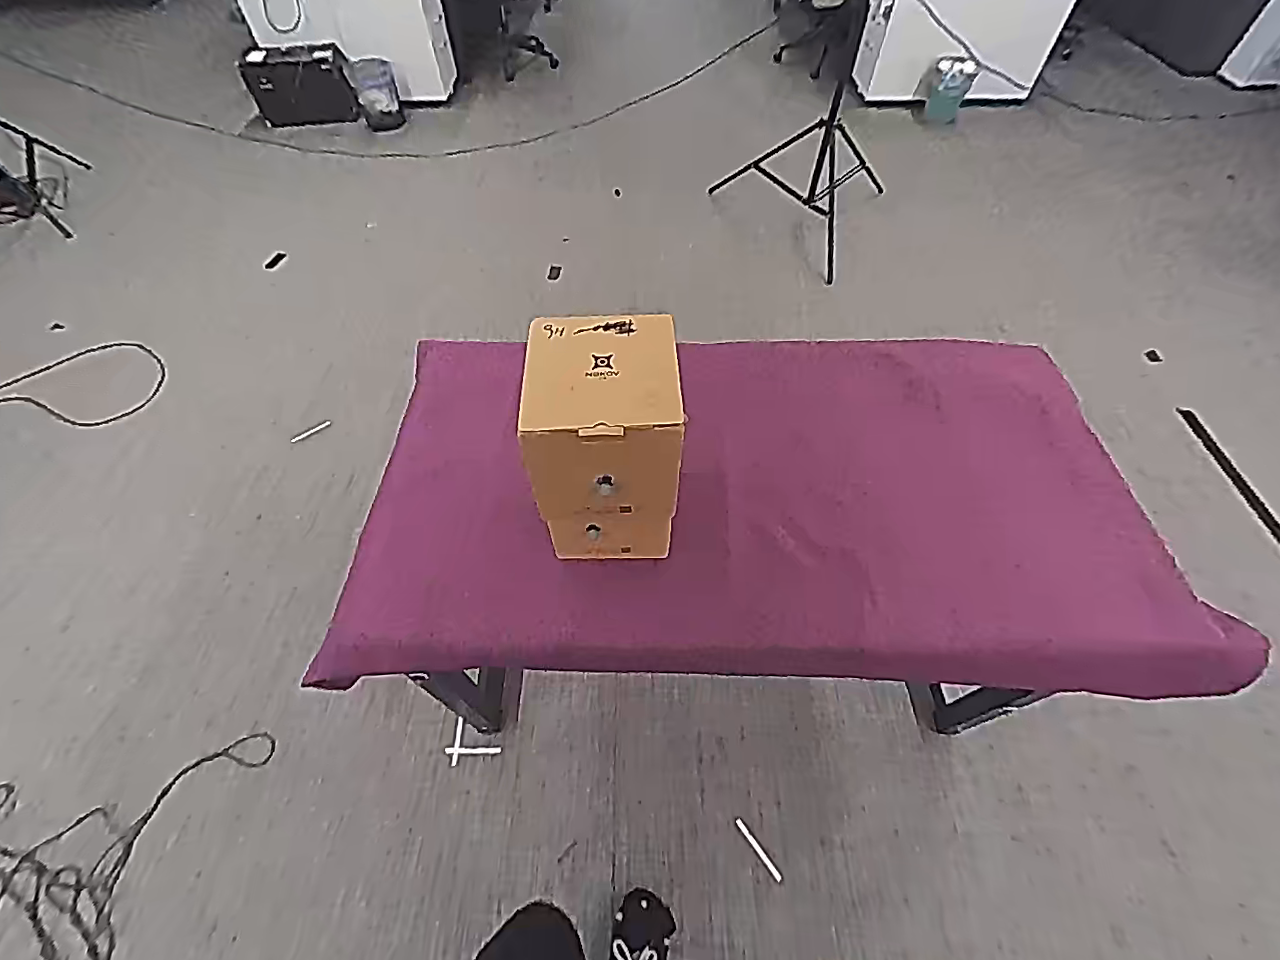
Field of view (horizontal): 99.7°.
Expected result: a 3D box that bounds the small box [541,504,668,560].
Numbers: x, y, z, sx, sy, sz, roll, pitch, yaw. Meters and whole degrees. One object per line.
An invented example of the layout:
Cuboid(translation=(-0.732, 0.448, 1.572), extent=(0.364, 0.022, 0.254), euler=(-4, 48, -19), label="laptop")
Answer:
Cuboid(translation=(-0.043, 0.008, 0.793), extent=(0.168, 0.176, 0.179), euler=(-1, 55, 0), label="small box")

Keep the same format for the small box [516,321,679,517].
Cuboid(translation=(-0.042, -0.065, 0.643), extent=(0.168, 0.176, 0.179), euler=(-2, 55, -1), label="small box")
